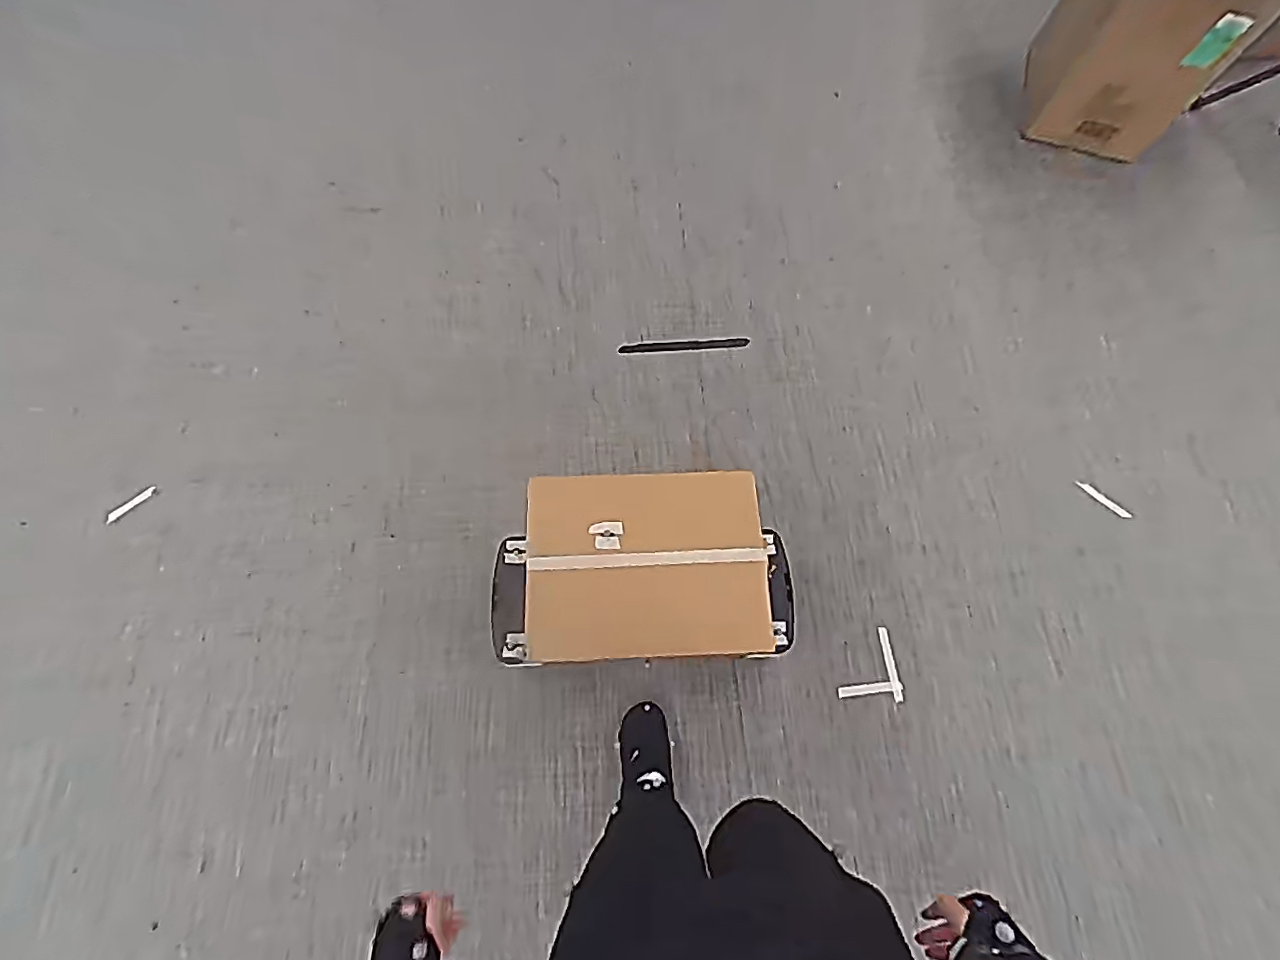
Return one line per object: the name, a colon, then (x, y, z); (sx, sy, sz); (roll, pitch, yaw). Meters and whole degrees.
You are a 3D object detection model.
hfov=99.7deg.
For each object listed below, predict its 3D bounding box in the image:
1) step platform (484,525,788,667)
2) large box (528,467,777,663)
step platform: (-0.007, 0.273, 1.263); (0.684, 0.204, 0.286); (3, 71, 0)
large box: (0.014, 0.178, 1.043); (0.408, 0.320, 0.320); (-2, 70, -1)
